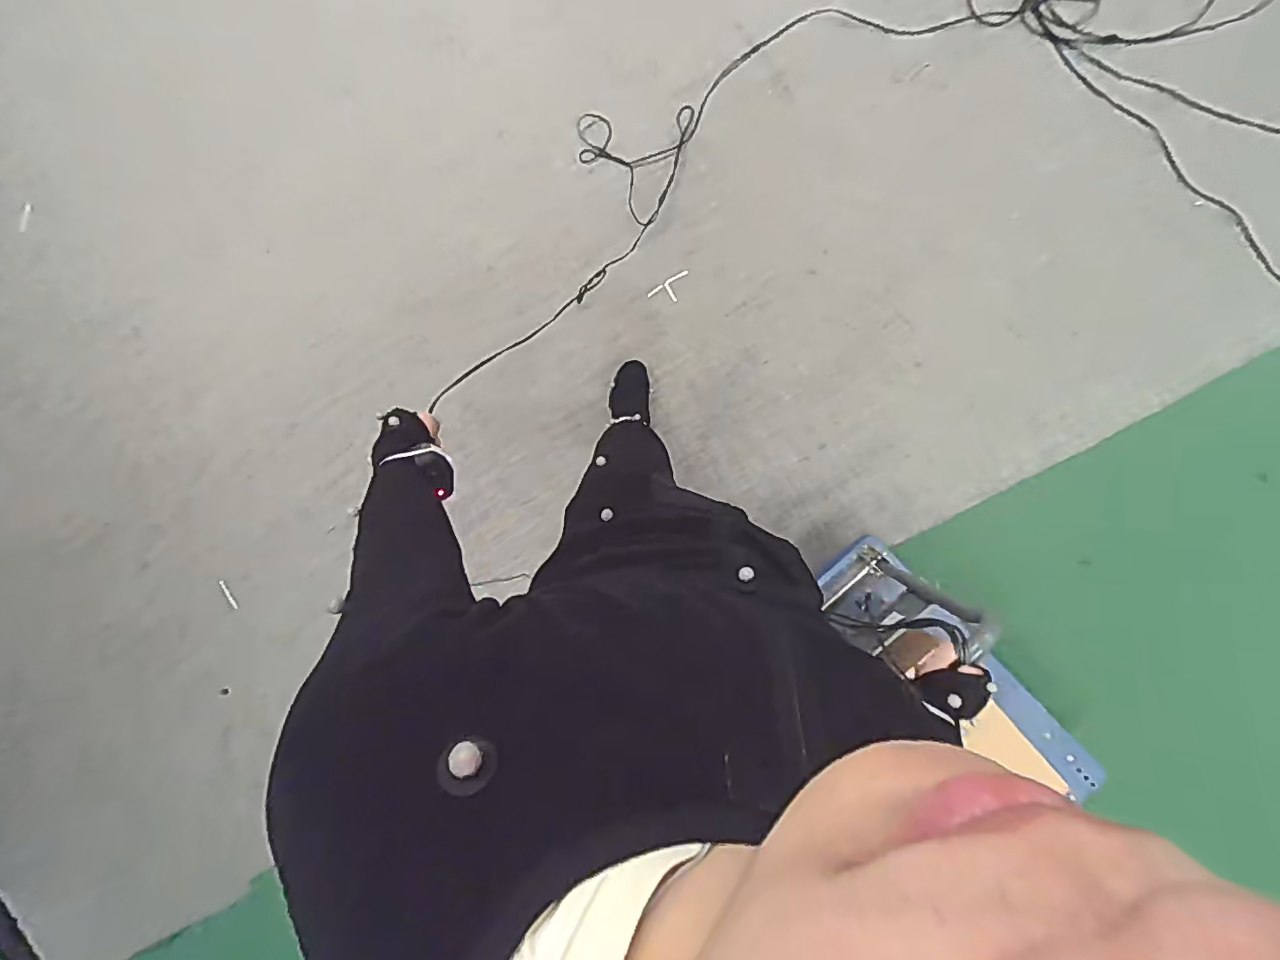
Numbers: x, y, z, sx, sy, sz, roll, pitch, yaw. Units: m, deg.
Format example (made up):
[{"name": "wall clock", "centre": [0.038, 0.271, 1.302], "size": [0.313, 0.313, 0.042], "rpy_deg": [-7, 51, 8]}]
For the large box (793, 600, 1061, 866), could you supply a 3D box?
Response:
[{"name": "large box", "centre": [0.634, 0.559, 1.273], "size": [0.320, 0.320, 0.408], "rpy_deg": [-41, 90, 6]}]
